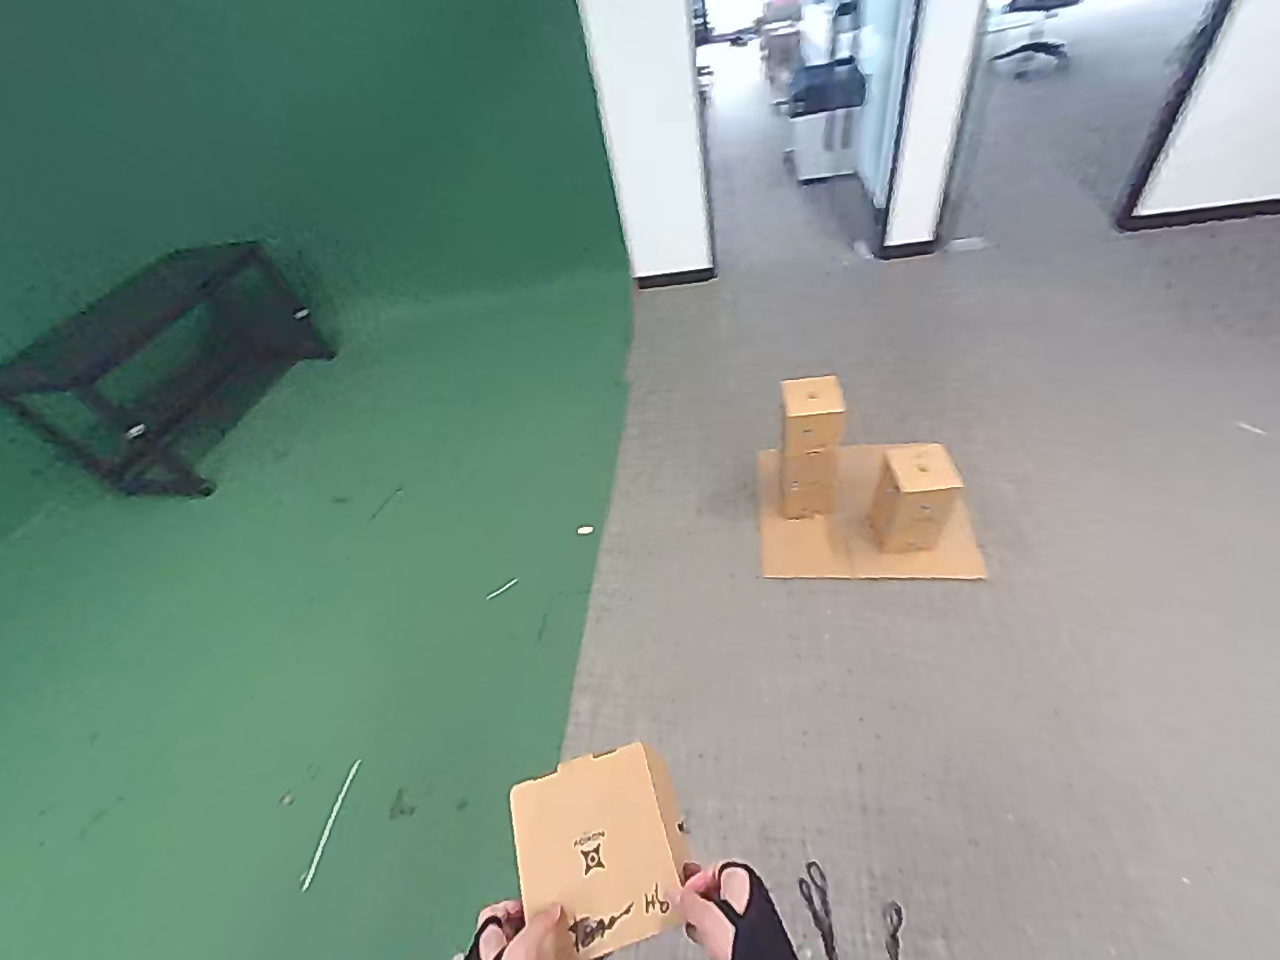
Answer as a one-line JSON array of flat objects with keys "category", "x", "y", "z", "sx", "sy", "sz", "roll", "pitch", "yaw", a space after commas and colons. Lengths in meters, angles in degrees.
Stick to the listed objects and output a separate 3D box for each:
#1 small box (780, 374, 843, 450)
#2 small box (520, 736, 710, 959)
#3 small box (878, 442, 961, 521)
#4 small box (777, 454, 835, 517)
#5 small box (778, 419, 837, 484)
[{"category": "small box", "x": 0.538, "y": -0.208, "z": 1.711, "sx": 0.168, "sy": 0.176, "sz": 0.179, "roll": -5, "pitch": 46, "yaw": 10}, {"category": "small box", "x": -0.026, "y": 0.433, "z": 0.638, "sx": 0.168, "sy": 0.176, "sz": 0.179, "roll": -19, "pitch": 52, "yaw": 1}, {"category": "small box", "x": 0.844, "y": 0.011, "z": 1.649, "sx": 0.168, "sy": 0.176, "sz": 0.179, "roll": -6, "pitch": 47, "yaw": 7}, {"category": "small box", "x": 0.592, "y": 0.011, "z": 1.945, "sx": 0.168, "sy": 0.176, "sz": 0.179, "roll": -8, "pitch": 47, "yaw": 7}, {"category": "small box", "x": 0.562, "y": -0.098, "z": 1.827, "sx": 0.168, "sy": 0.176, "sz": 0.179, "roll": -6, "pitch": 46, "yaw": 9}]
